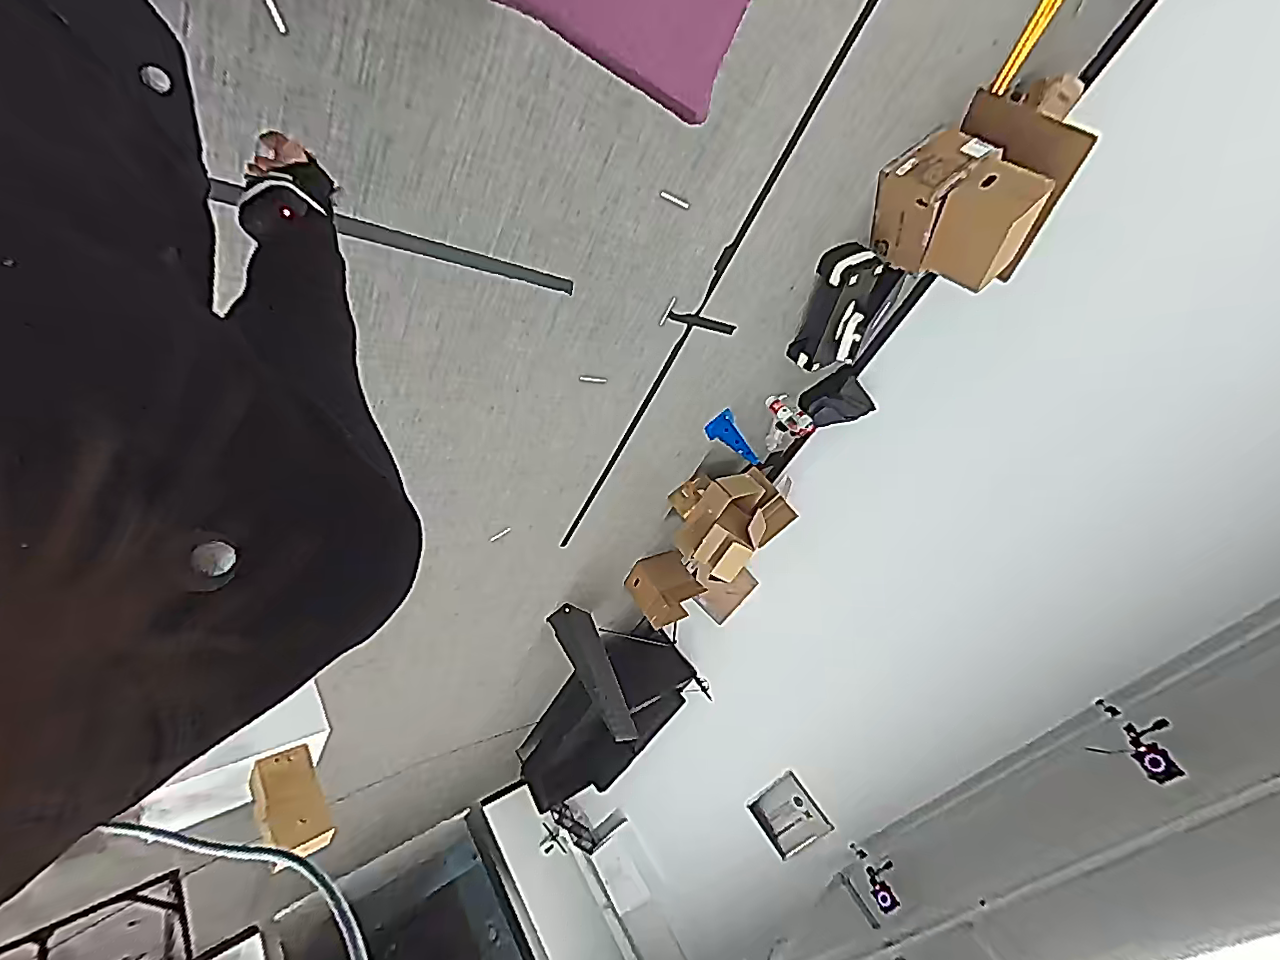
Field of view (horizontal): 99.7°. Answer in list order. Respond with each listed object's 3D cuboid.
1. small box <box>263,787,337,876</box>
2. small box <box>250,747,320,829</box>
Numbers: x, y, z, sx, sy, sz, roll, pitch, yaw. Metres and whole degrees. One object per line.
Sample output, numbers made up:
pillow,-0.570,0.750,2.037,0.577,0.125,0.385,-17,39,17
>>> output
small box,-1.189,1.218,1.881,0.179,0.176,0.168,-9,141,-47
small box,-1.287,1.106,1.952,0.168,0.176,0.179,-4,136,-49
